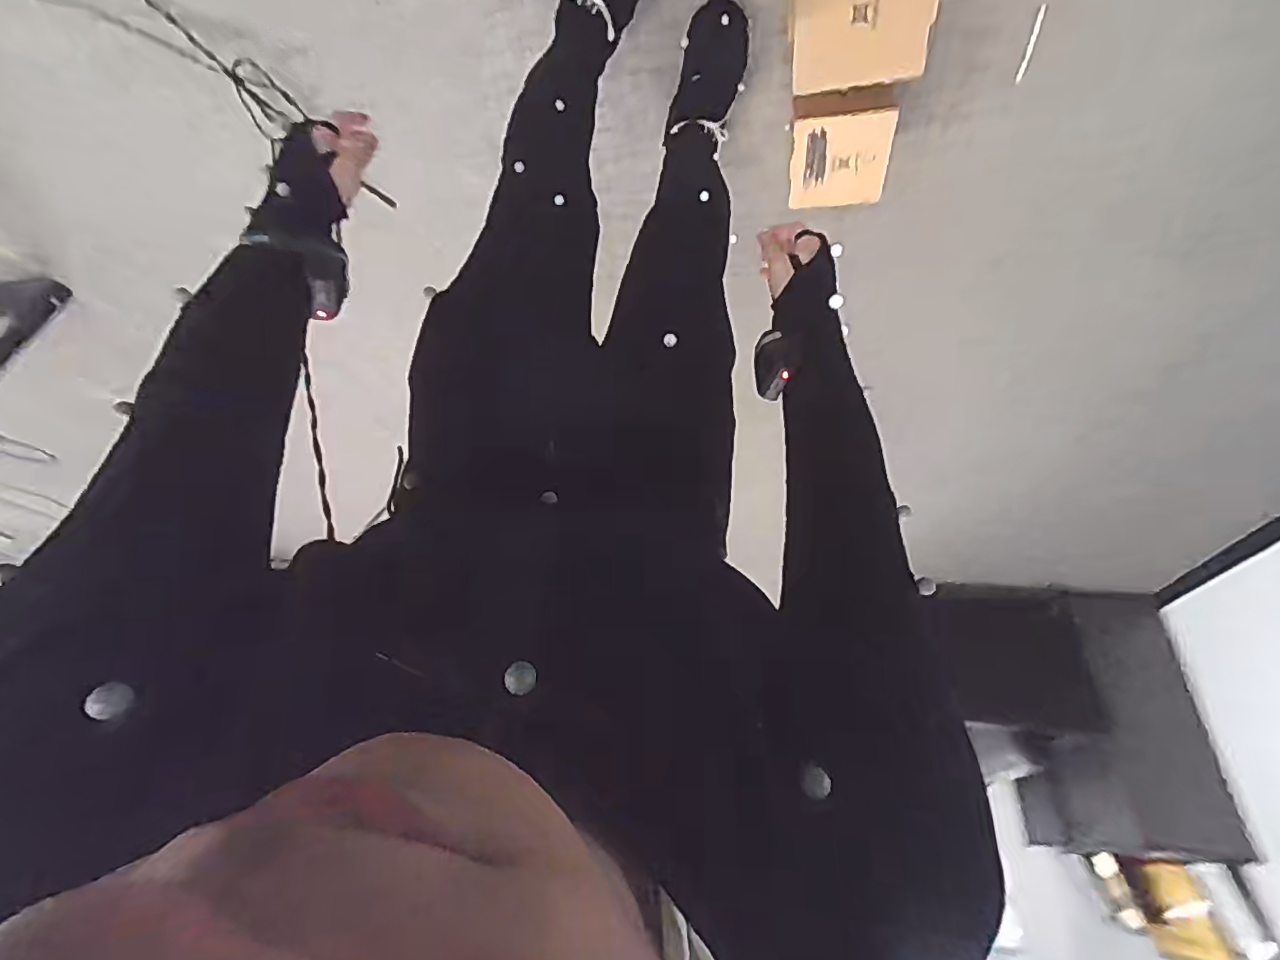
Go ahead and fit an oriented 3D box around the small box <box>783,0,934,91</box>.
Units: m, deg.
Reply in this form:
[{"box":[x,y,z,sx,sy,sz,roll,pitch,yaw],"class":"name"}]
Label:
[{"box":[0.285,-0.655,0.718,0.179,0.176,0.168,1,148,11],"class":"small box"}]
